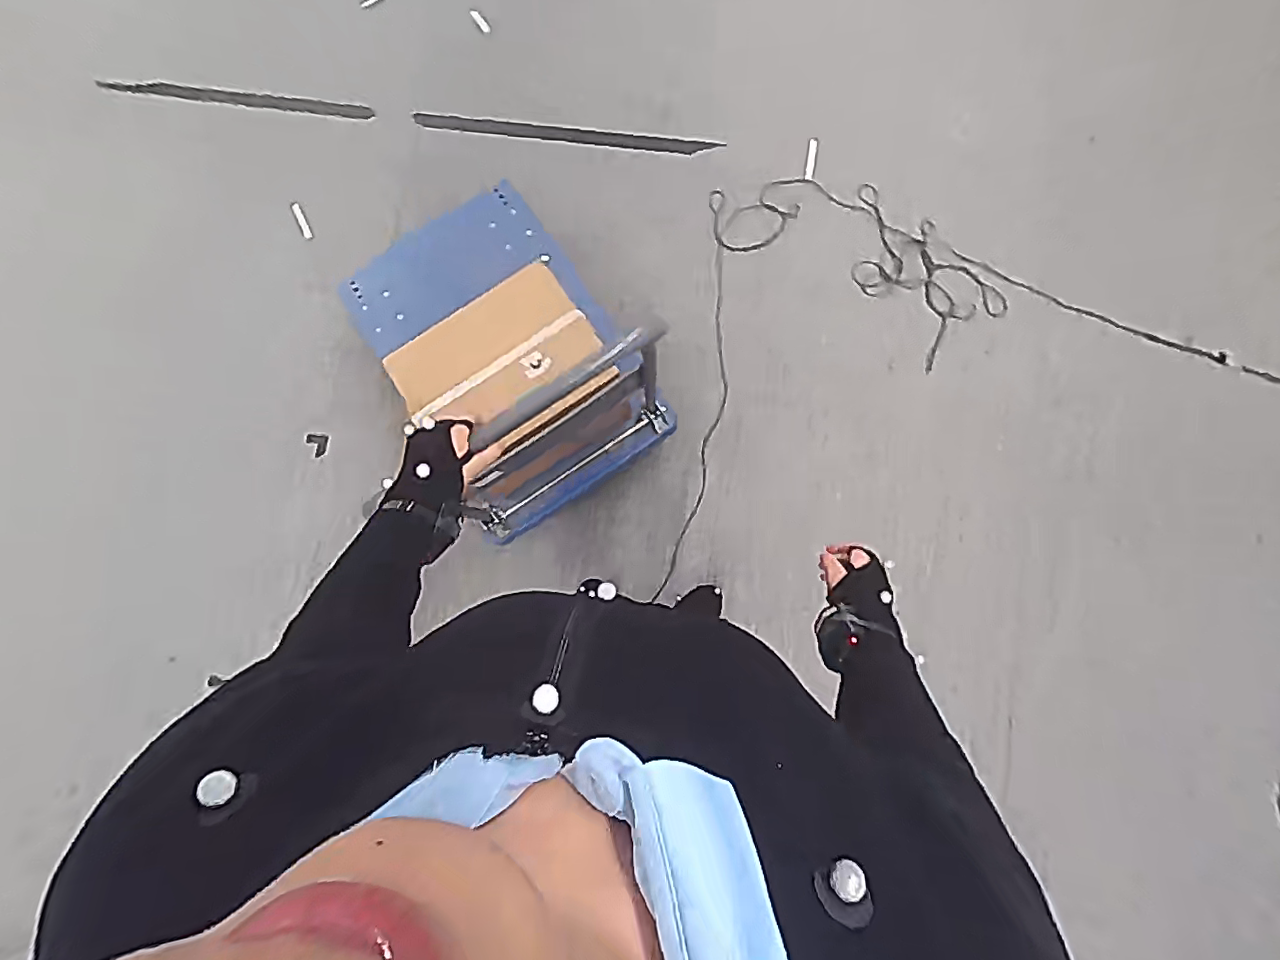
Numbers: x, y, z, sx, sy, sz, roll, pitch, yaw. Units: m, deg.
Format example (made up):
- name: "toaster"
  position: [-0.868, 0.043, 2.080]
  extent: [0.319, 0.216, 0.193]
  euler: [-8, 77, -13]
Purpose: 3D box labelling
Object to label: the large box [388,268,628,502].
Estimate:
- name: "large box"
  position: [-0.282, -0.197, 1.268]
  extent: [0.408, 0.320, 0.320]
  euler: [-33, 81, -3]
